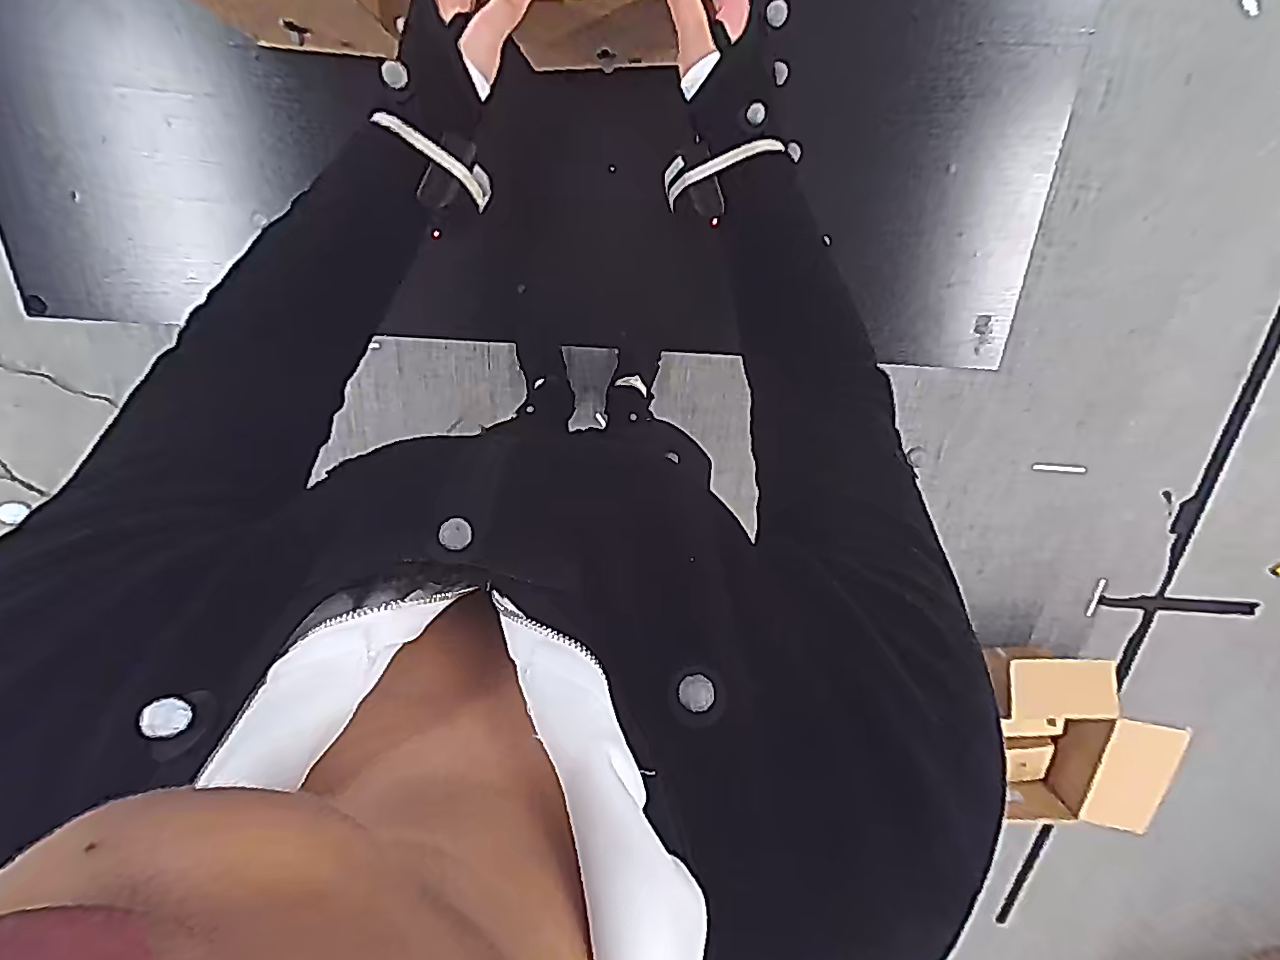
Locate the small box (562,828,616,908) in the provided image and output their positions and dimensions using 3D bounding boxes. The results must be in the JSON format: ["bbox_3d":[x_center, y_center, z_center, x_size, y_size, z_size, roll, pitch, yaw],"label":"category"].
[{"bbox_3d":[-0.178,1.374,1.922,0.179,0.176,0.168,5,109,-1],"label":"small box"}]

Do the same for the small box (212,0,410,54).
[{"bbox_3d":[-0.313,-0.507,0.461,0.168,0.176,0.179,4,112,-3],"label":"small box"}]
